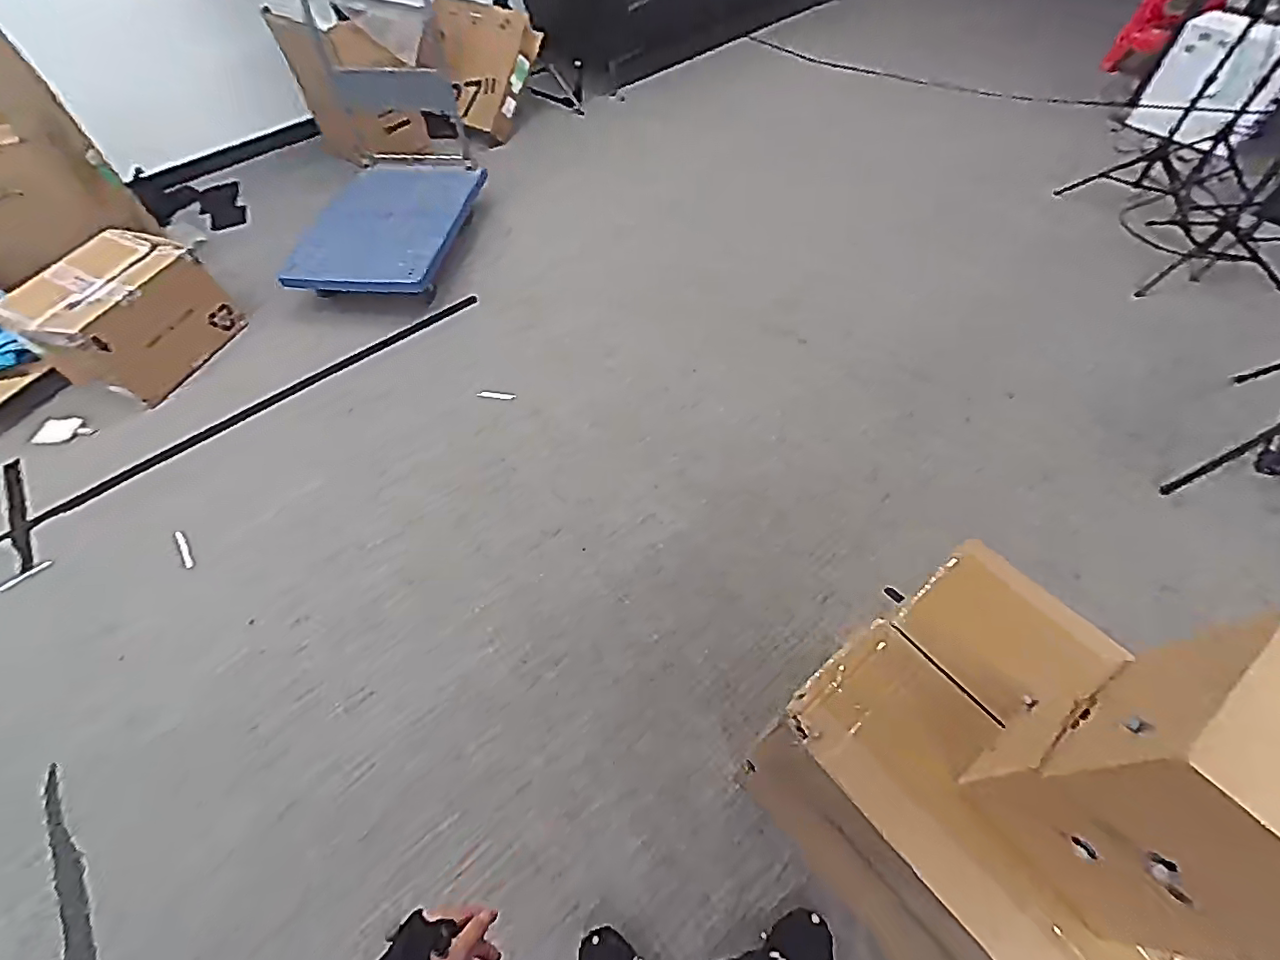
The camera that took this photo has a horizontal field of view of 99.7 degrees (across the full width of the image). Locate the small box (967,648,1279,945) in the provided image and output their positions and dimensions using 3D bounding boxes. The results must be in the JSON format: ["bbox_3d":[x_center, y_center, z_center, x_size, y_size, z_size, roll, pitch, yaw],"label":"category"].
[{"bbox_3d":[0.480,0.309,0.546,0.168,0.176,0.179,-34,61,-17],"label":"small box"}]
